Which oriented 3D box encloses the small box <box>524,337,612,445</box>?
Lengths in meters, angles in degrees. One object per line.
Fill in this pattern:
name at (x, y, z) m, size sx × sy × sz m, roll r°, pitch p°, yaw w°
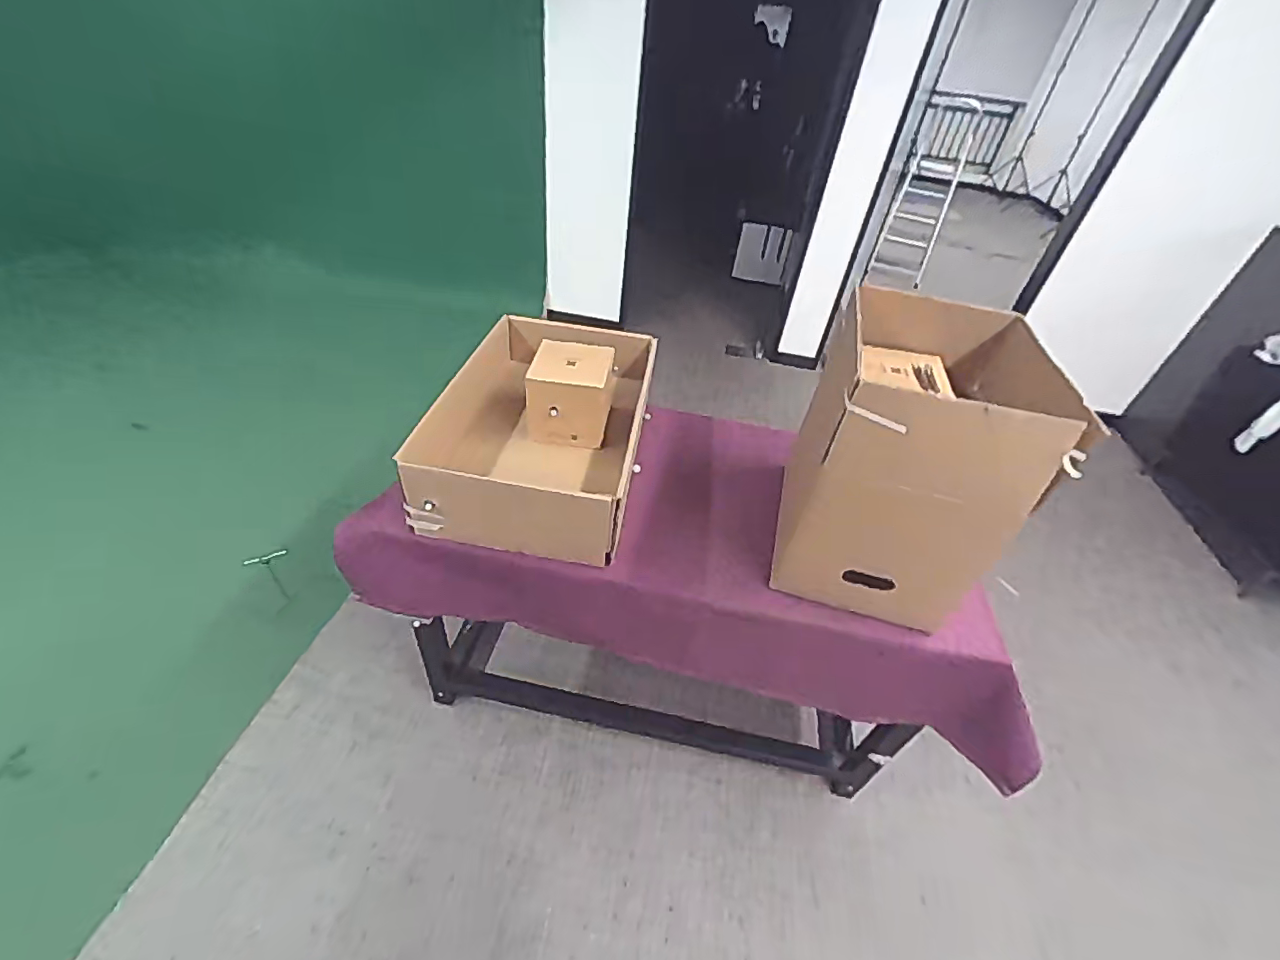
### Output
small box at (-0.156, -0.199, 1.220) m, size 0.168 × 0.176 × 0.179 m, roll 7°, pitch 41°, yaw 1°
